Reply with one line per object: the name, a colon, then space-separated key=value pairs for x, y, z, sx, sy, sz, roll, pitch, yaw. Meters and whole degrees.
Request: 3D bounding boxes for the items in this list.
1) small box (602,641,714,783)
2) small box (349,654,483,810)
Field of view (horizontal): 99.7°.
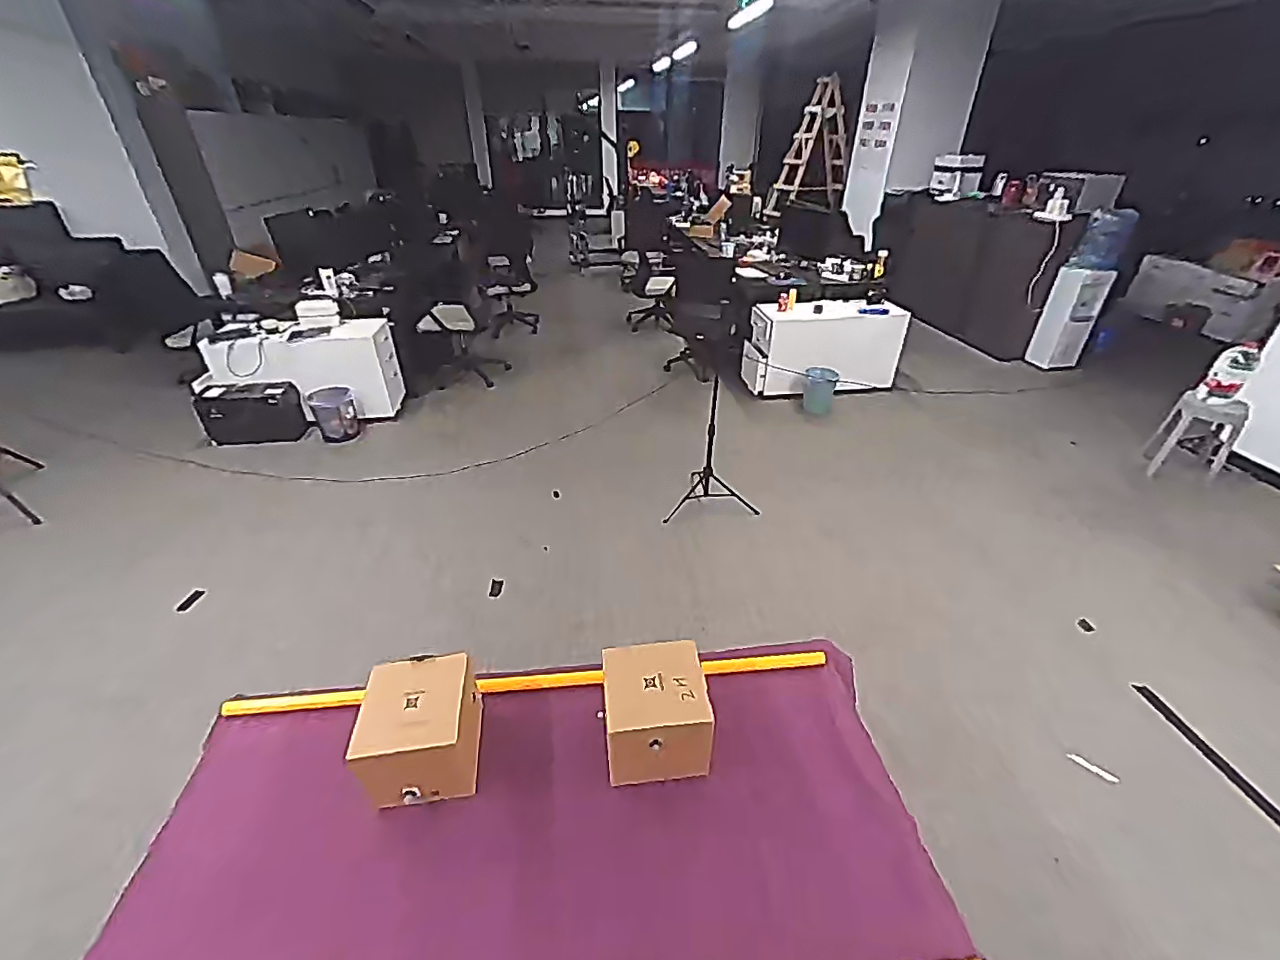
small box: x=0.027 y=0.415 z=0.966 sx=0.179 sy=0.176 sz=0.168 roll=-4 pitch=35 yaw=-5
small box: x=-0.373 y=0.434 z=0.939 sx=0.168 sy=0.176 sz=0.179 roll=-5 pitch=34 yaw=-7
